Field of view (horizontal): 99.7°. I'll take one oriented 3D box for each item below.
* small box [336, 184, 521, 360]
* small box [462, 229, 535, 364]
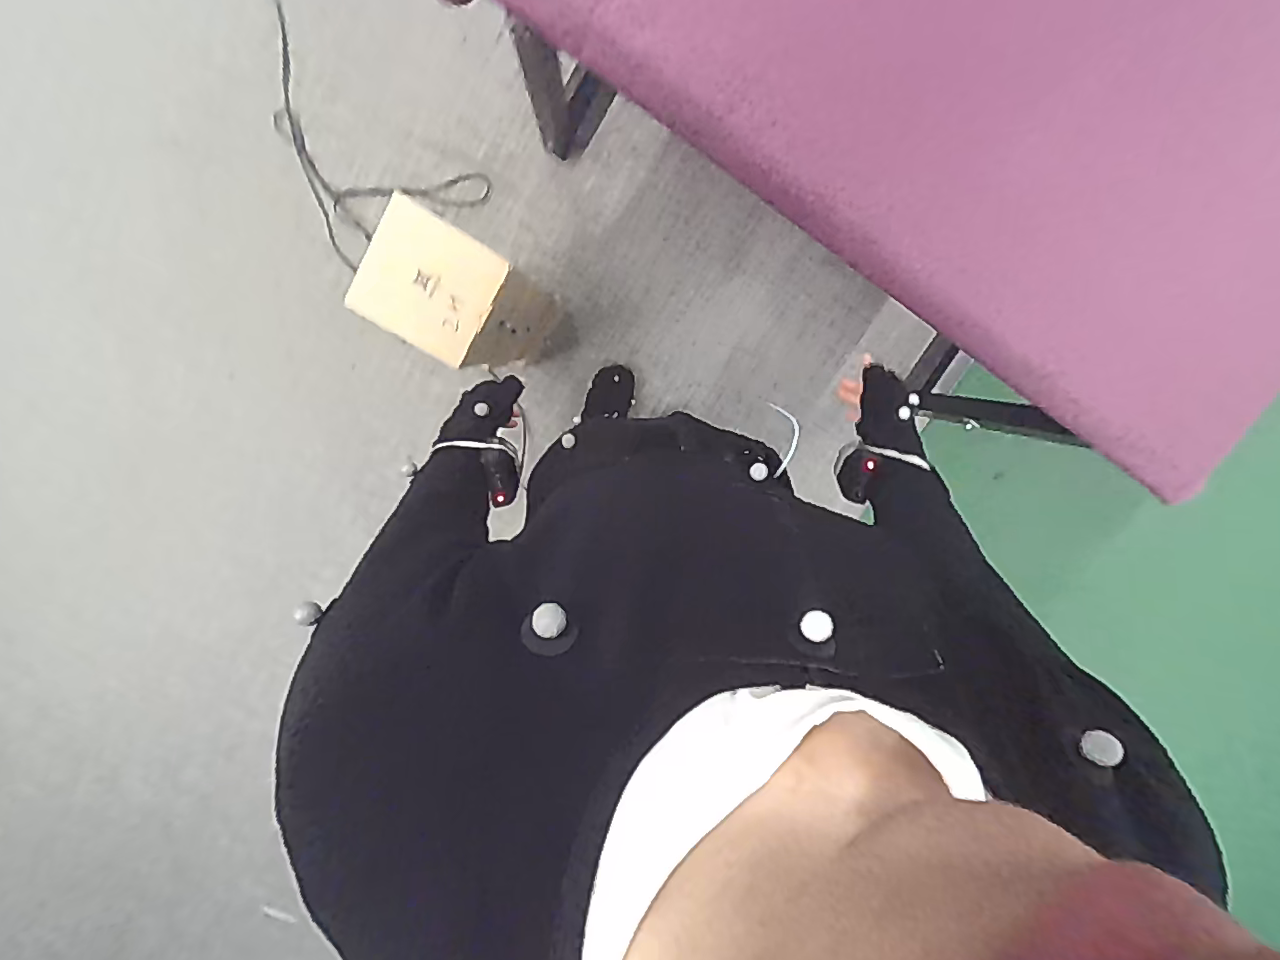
[{"bbox_3d":[-0.301,-0.295,0.805,0.179,0.176,0.168,31,102,-11],"label":"small box"},{"bbox_3d":[-0.302,-0.329,0.967,0.168,0.176,0.179,31,102,-10],"label":"small box"}]
